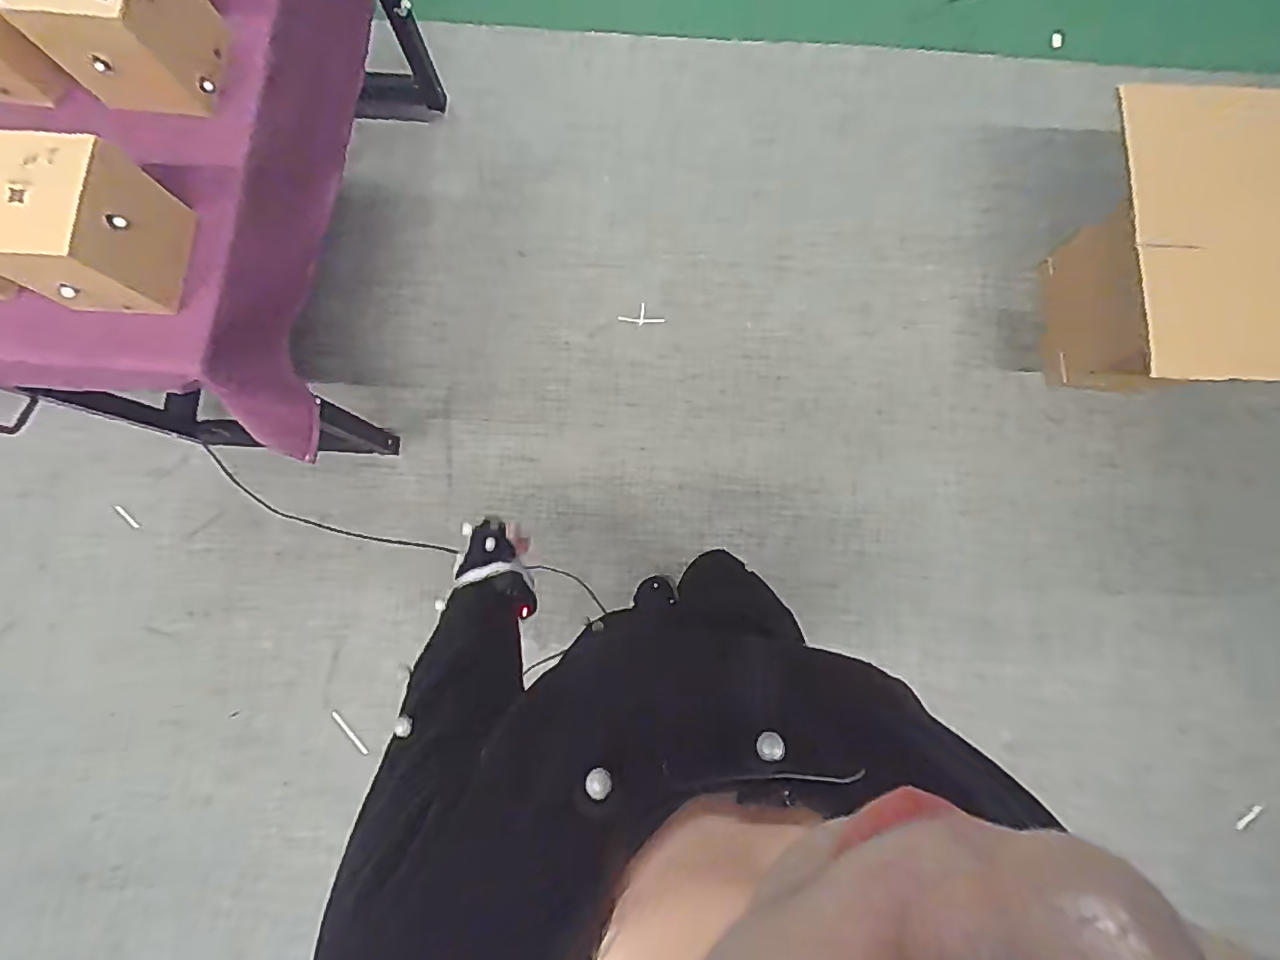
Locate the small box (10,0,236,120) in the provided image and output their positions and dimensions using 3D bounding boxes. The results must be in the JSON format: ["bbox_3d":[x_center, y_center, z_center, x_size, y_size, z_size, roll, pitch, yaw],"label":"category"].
[{"bbox_3d":[-0.780,-0.698,0.839,0.179,0.176,0.168,5,81,2],"label":"small box"}]

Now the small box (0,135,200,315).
[{"bbox_3d":[-0.791,-0.357,0.784,0.168,0.176,0.179,4,81,1],"label":"small box"}]

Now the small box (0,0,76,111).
[{"bbox_3d":[-1.029,-0.721,0.845,0.168,0.176,0.179,7,80,0],"label":"small box"}]
